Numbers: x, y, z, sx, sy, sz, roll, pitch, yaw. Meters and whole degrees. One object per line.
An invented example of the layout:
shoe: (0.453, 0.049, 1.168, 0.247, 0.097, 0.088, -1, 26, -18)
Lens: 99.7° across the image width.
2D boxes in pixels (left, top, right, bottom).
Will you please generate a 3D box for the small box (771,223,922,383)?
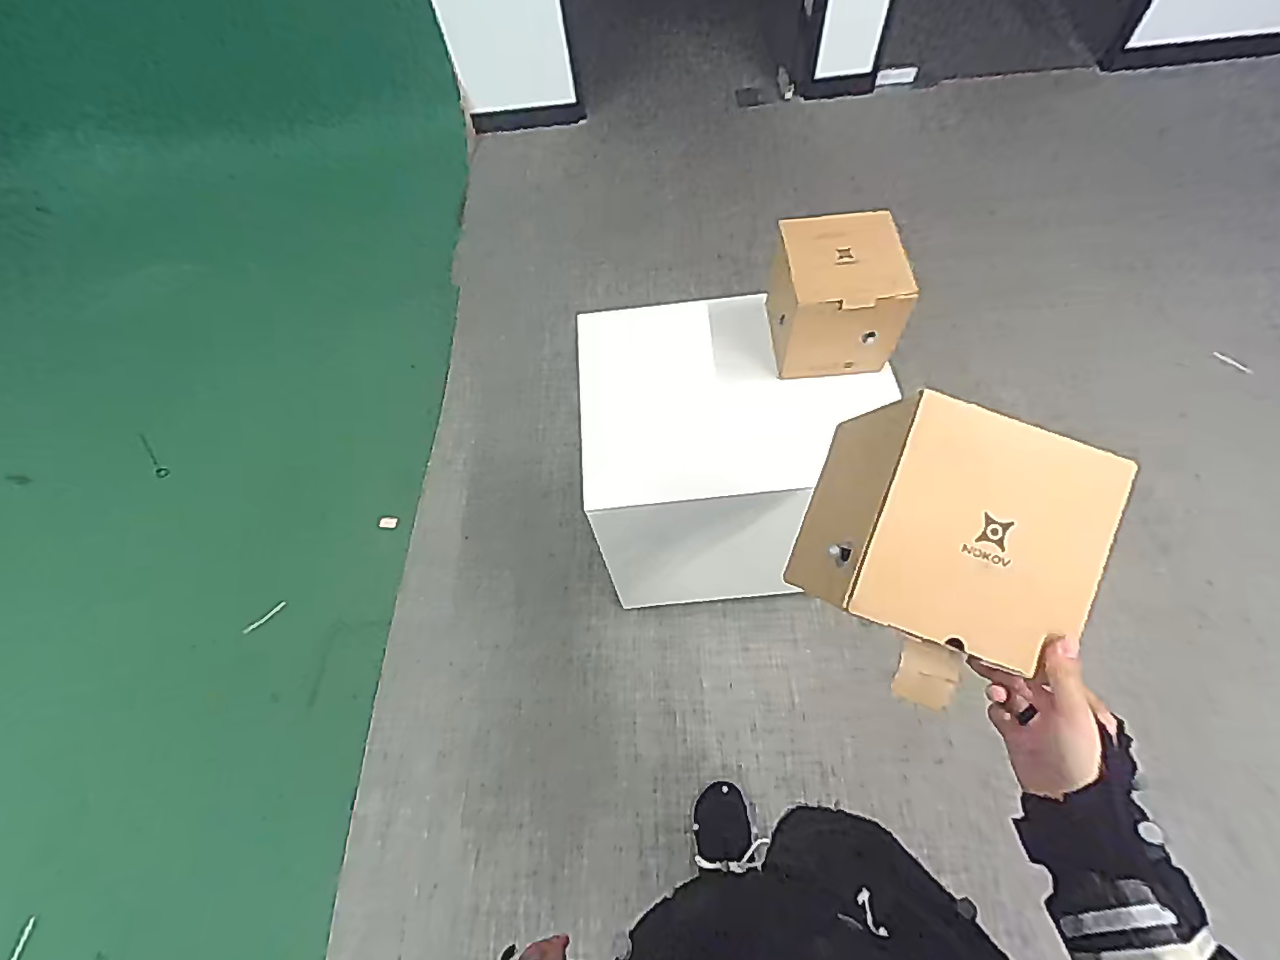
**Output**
small box: (0.305, -0.265, 0.841, 0.168, 0.176, 0.179, -4, 61, 3)

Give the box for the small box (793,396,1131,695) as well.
small box: (0.252, 0.049, 0.469, 0.168, 0.176, 0.179, 20, 88, 1)
